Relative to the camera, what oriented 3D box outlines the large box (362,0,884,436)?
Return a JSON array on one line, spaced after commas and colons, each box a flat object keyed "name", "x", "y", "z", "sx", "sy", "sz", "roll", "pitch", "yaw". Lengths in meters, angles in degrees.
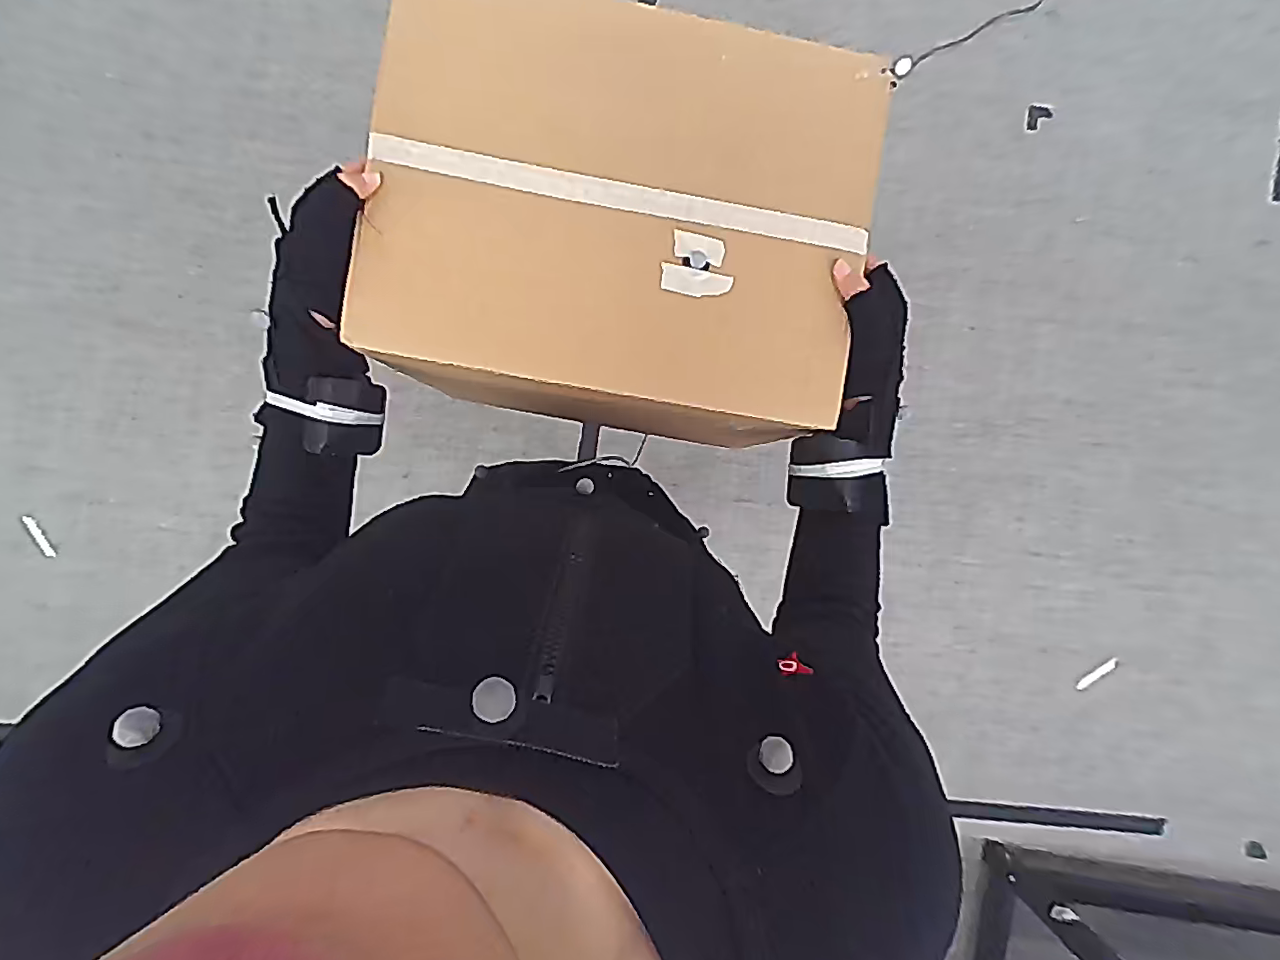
[{"name": "large box", "x": -0.020, "y": -0.237, "z": 0.596, "sx": 0.408, "sy": 0.320, "sz": 0.320, "roll": 9, "pitch": 91, "yaw": -4}]
